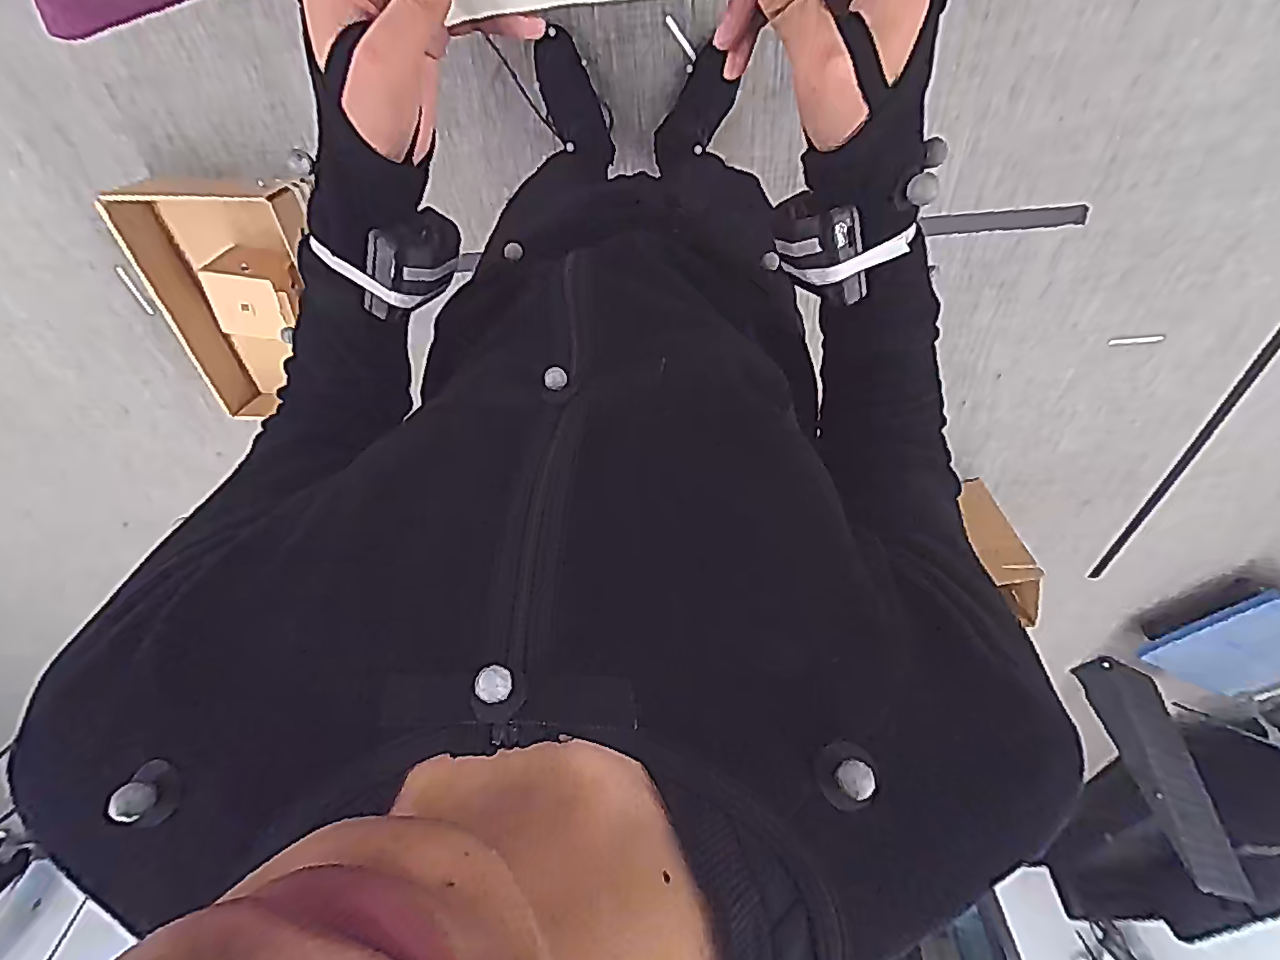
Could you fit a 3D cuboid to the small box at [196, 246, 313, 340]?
[{"bbox_3d":[-0.975,-0.485,1.395,0.179,0.176,0.168,6,133,-6],"label":"small box"}]
